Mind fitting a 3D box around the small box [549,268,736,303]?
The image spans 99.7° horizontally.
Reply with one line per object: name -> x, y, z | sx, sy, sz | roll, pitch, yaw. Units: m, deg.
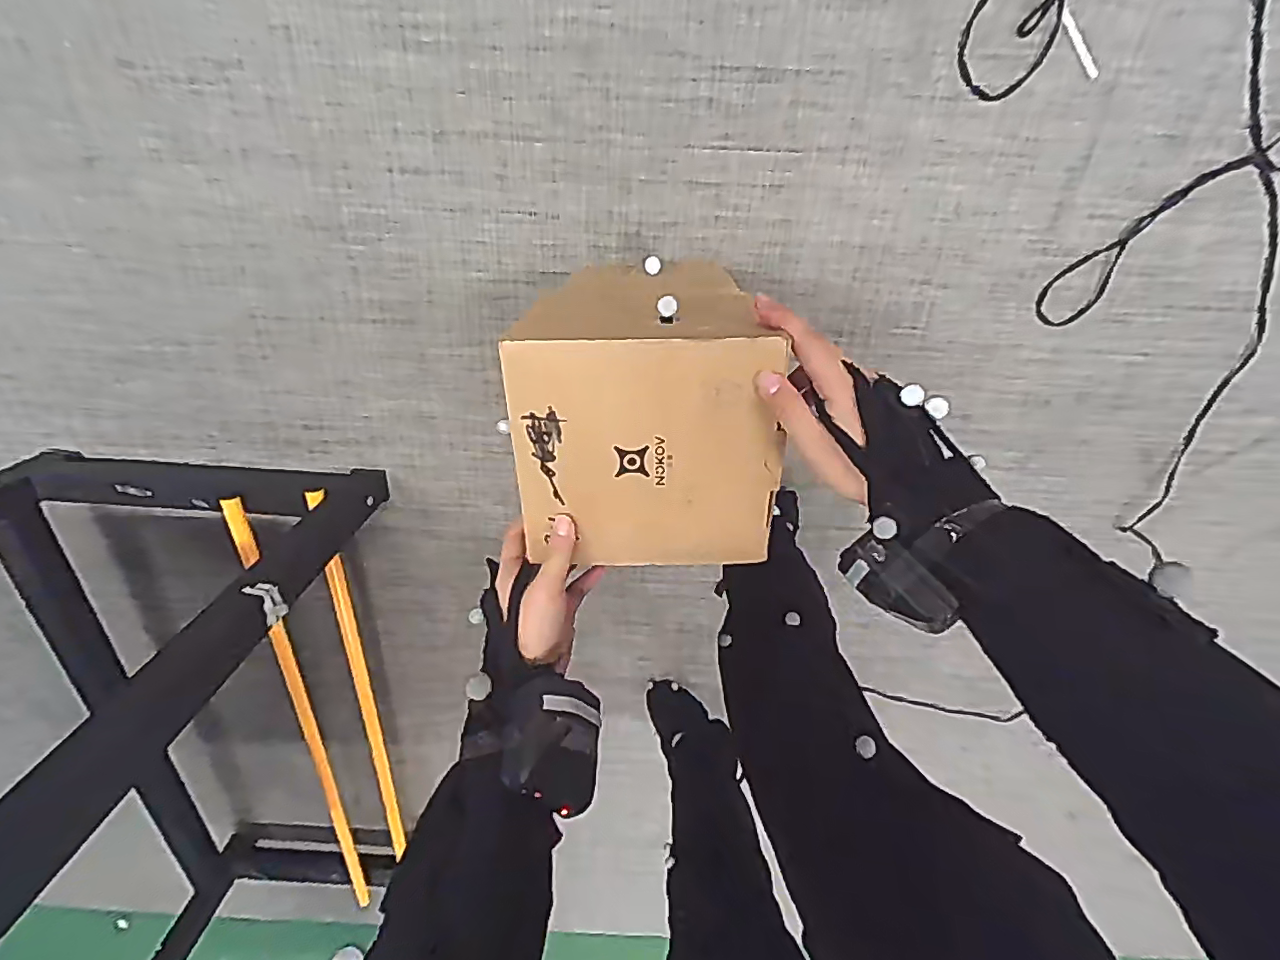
small box -> 0.006, -0.122, 0.575 | 0.168, 0.176, 0.179 | -1, 117, 2

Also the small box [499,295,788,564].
small box -> 0.002, -0.049, 0.427 | 0.179, 0.176, 0.168 | 0, 117, 1
